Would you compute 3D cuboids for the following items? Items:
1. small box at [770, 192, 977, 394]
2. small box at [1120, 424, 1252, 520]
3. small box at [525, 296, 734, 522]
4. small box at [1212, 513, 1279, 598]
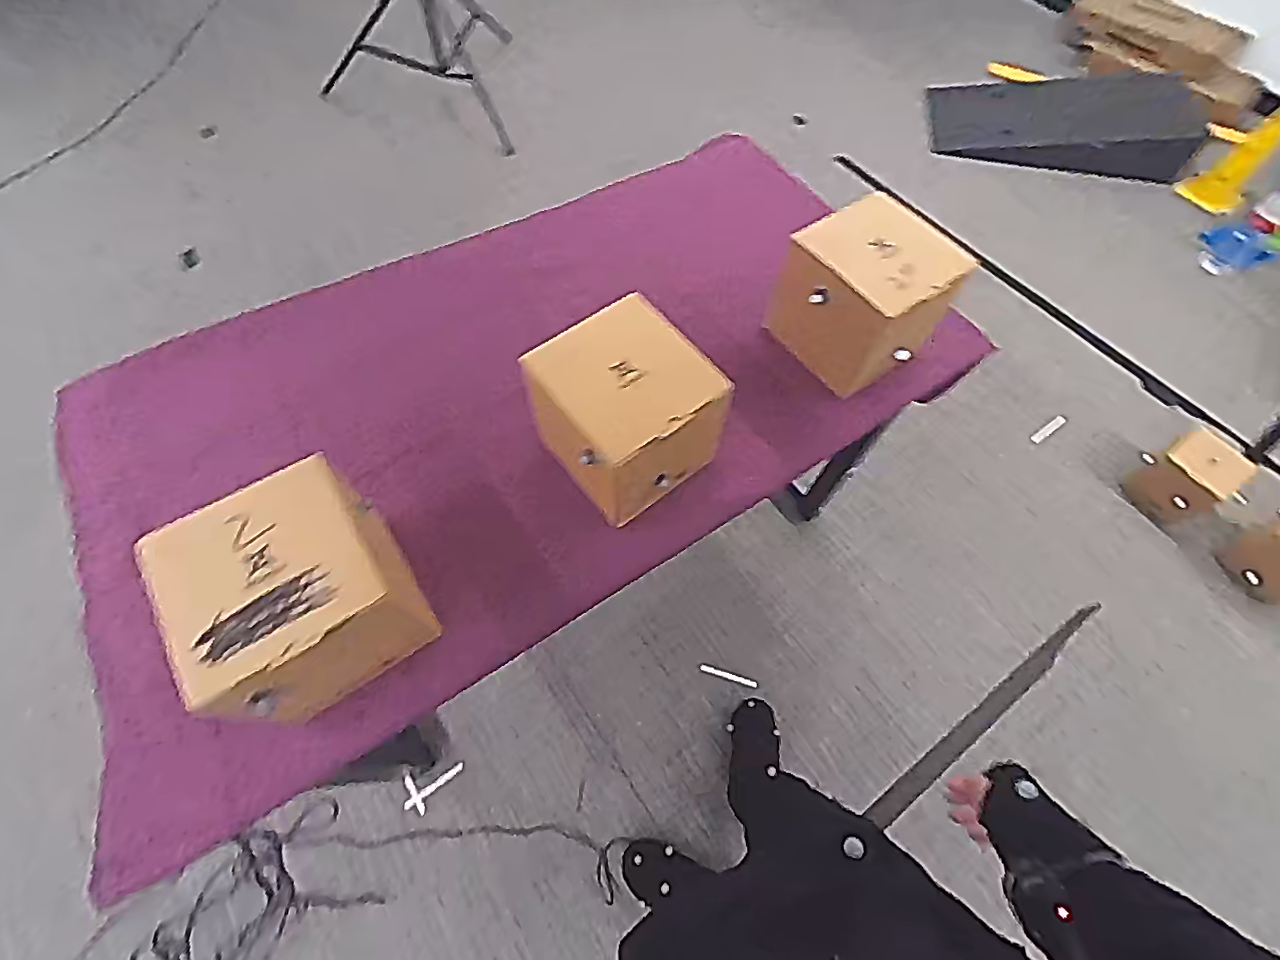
[{"bbox_3d":[0.309,-0.256,0.759,0.168,0.176,0.179,-32,69,-16],"label":"small box"},{"bbox_3d":[1.506,-0.017,1.506,0.179,0.176,0.168,-33,70,-18],"label":"small box"},{"bbox_3d":[-0.016,-0.079,0.660,0.168,0.176,0.179,-36,71,-18],"label":"small box"},{"bbox_3d":[1.685,0.192,1.408,0.168,0.176,0.179,-27,68,-15],"label":"small box"}]
